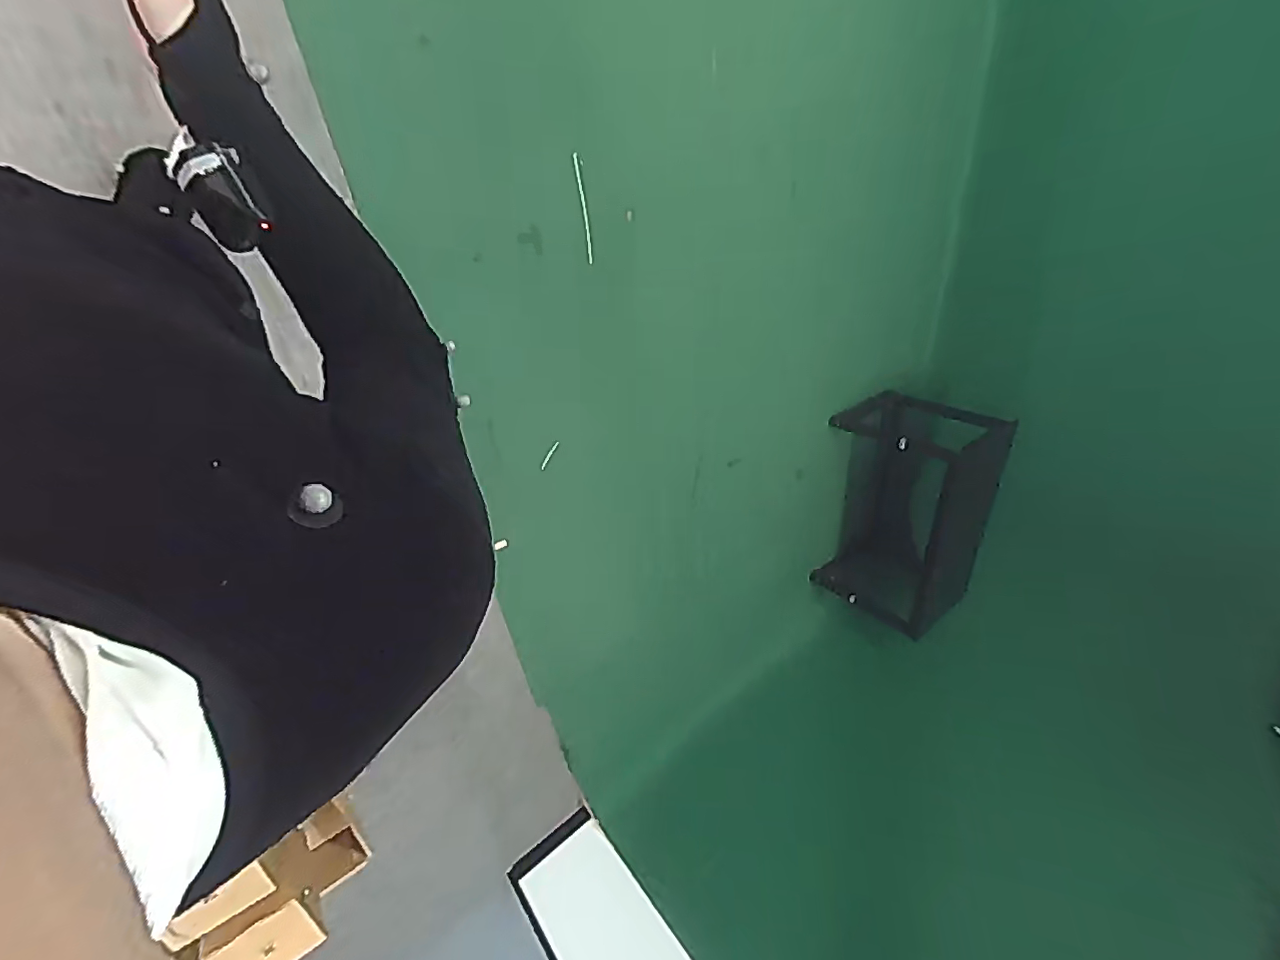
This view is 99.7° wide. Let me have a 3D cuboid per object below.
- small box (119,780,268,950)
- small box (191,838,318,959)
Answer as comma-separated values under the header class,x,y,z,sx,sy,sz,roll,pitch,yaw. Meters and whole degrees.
class,x,y,z,sx,sy,sz,roll,pitch,yaw
small box,-0.832,0.706,1.016,0.168,0.176,0.179,-21,125,-31
small box,-0.813,0.913,1.145,0.168,0.176,0.179,-24,124,-30
